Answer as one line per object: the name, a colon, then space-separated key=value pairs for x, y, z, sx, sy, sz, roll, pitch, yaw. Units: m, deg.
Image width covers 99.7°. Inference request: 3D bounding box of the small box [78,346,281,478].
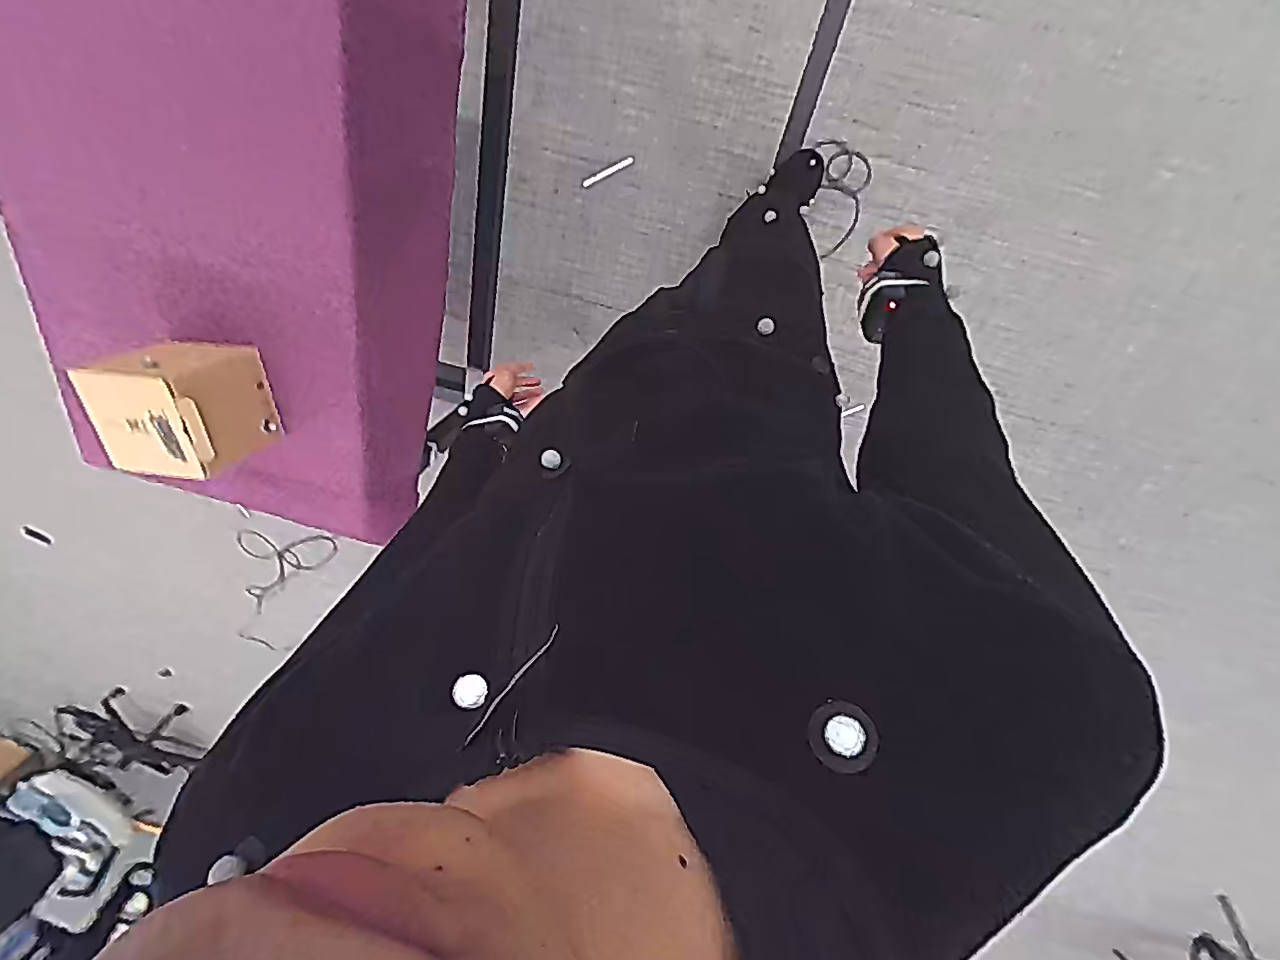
small box: x=-0.738 y=-0.119 z=0.896 sx=0.179 sy=0.176 sz=0.168 roll=5 pitch=119 yaw=9
